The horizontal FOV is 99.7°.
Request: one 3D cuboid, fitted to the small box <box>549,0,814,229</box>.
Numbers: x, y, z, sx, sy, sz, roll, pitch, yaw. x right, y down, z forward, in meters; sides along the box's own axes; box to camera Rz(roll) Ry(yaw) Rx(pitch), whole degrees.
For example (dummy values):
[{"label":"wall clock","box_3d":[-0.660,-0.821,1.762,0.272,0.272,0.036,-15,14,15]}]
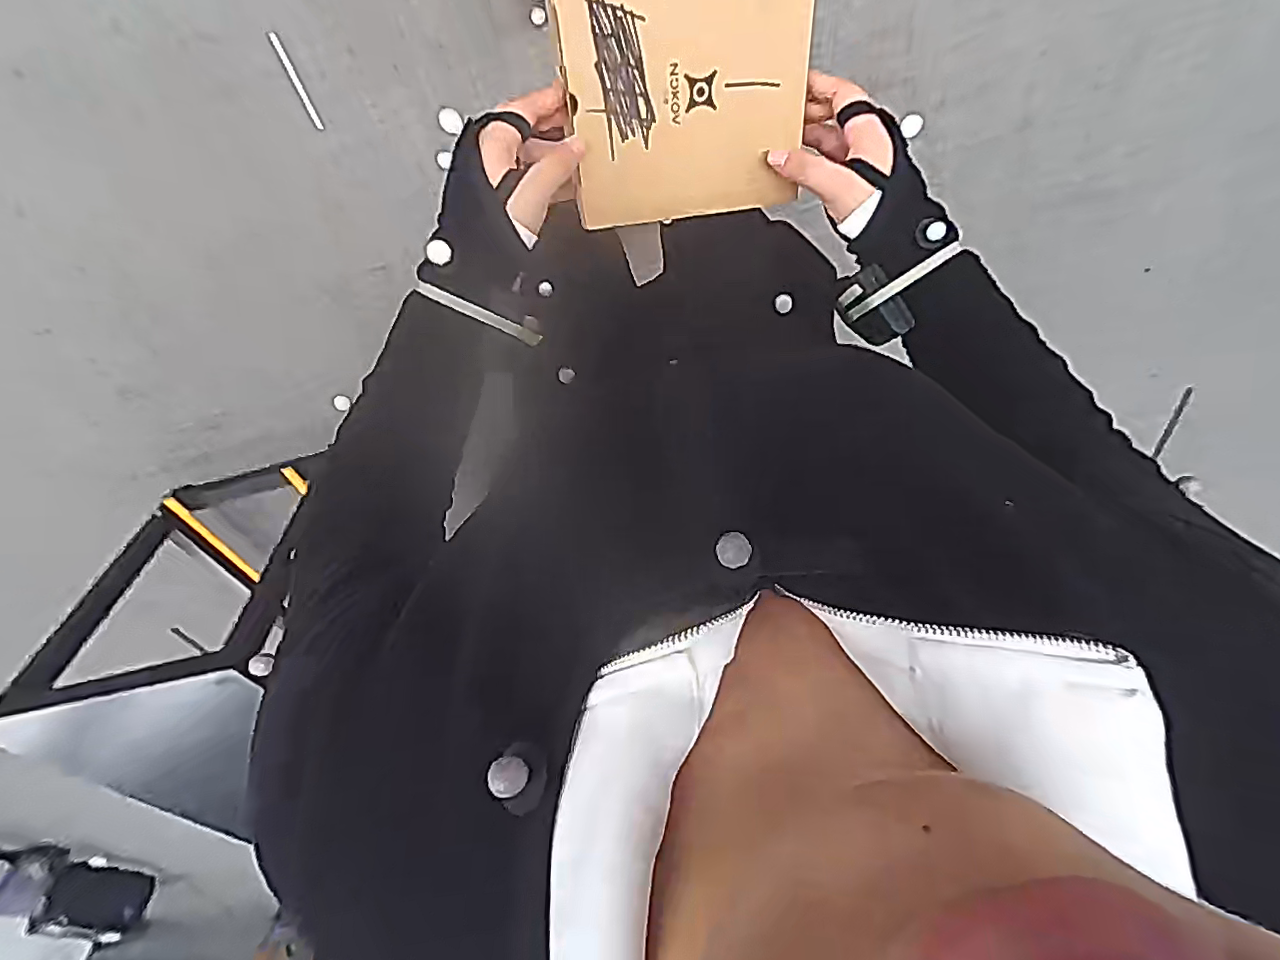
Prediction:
[{"label":"small box","box_3d":[0.023,-0.322,0.446,0.179,0.176,0.168,-9,130,-4]}]
